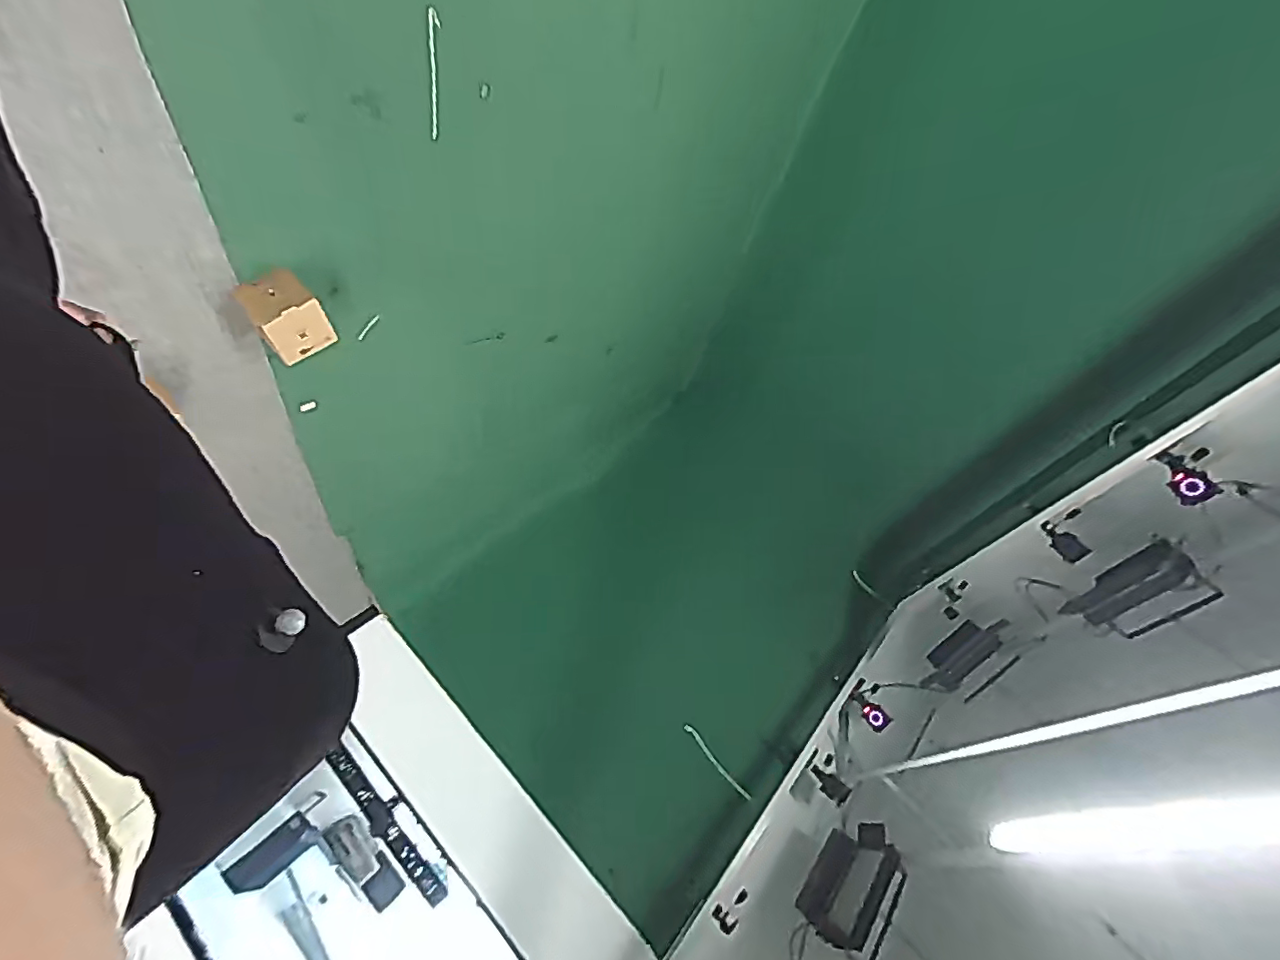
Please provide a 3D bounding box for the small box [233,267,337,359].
[{"bbox_3d":[-1.045,-0.500,1.596,0.168,0.176,0.179,-40,163,-24],"label":"small box"}]
